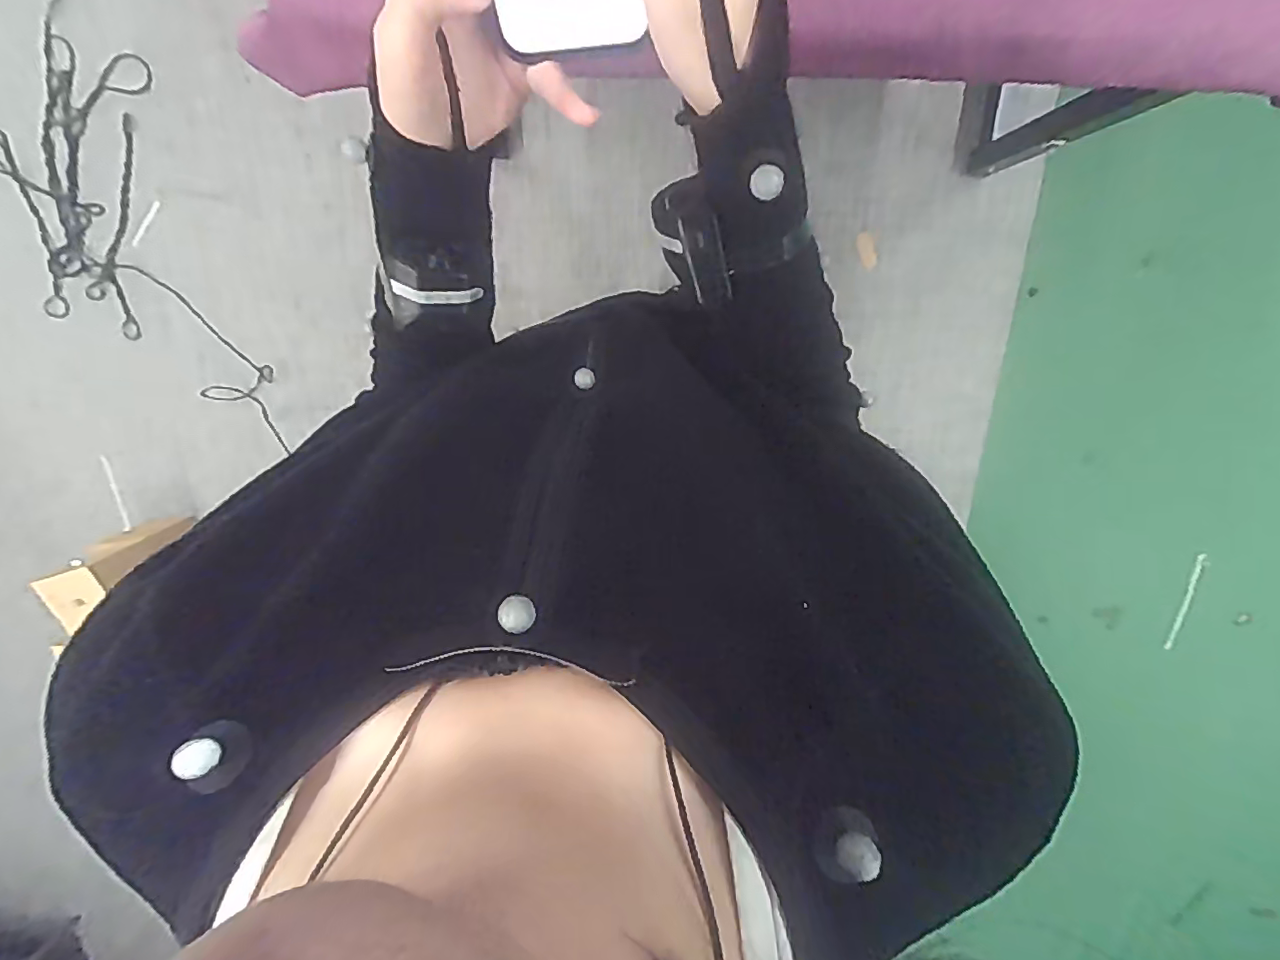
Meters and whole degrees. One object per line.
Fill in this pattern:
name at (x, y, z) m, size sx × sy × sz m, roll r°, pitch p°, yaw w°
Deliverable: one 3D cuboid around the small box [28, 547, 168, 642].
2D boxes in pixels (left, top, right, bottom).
small box at (-1.414, 0.296, 1.431) m, size 0.179 × 0.176 × 0.168 m, roll -15°, pitch 107°, yaw 8°
